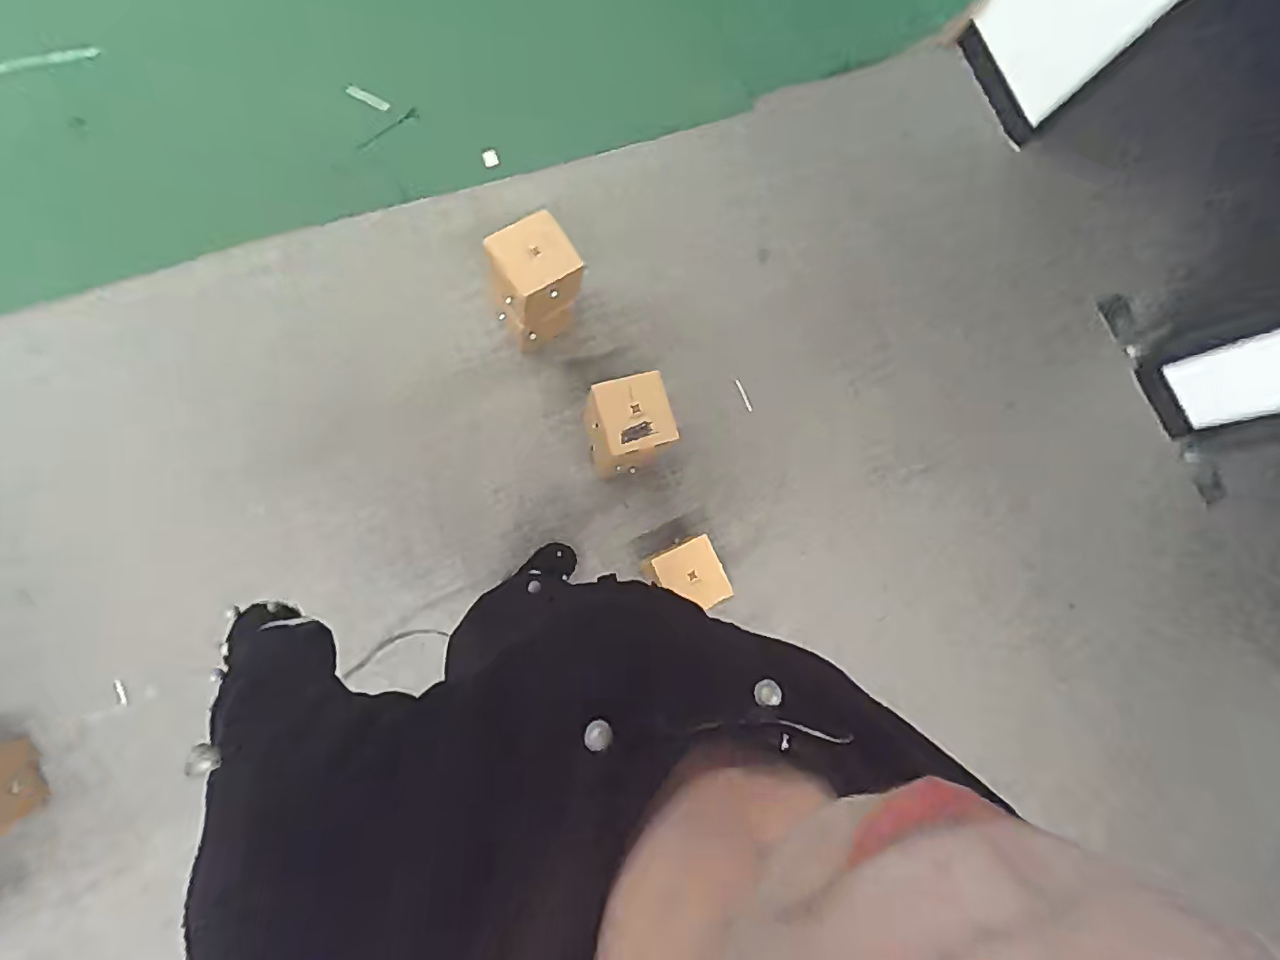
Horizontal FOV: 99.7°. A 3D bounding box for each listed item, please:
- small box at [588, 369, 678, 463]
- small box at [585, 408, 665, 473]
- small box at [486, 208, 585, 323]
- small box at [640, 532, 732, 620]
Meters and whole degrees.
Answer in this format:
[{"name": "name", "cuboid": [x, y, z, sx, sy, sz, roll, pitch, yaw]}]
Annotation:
[{"name": "small box", "cuboid": [-0.024, -0.146, 1.314, 0.168, 0.176, 0.179, -14, 83, -12]}, {"name": "small box", "cuboid": [-0.047, -0.123, 1.476, 0.168, 0.176, 0.179, -15, 85, -13]}, {"name": "small box", "cuboid": [-0.255, -0.518, 1.330, 0.179, 0.176, 0.168, -33, 89, -14]}, {"name": "small box", "cuboid": [0.116, 0.255, 1.449, 0.168, 0.176, 0.179, -24, 87, -13]}]
